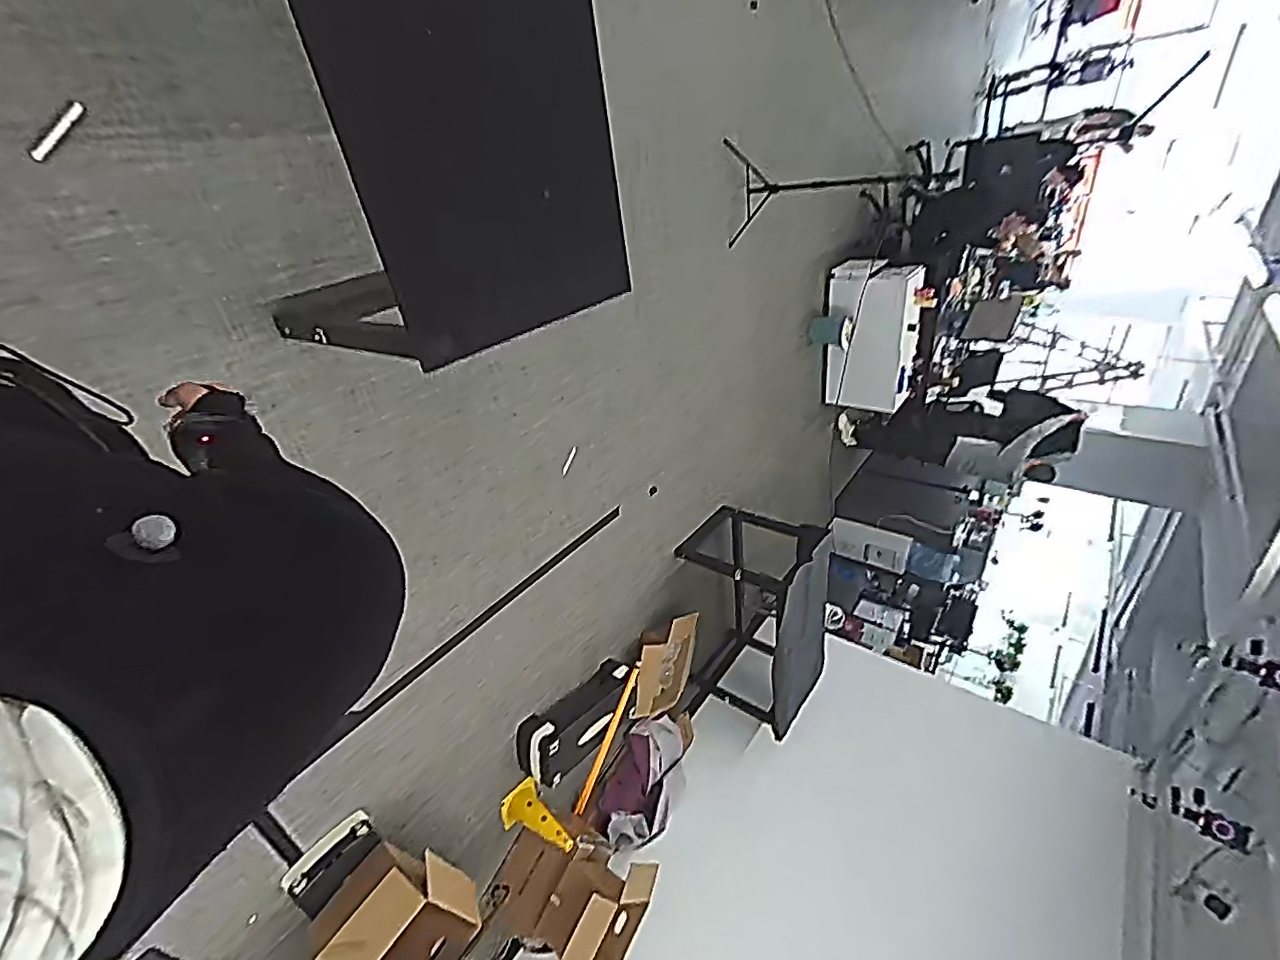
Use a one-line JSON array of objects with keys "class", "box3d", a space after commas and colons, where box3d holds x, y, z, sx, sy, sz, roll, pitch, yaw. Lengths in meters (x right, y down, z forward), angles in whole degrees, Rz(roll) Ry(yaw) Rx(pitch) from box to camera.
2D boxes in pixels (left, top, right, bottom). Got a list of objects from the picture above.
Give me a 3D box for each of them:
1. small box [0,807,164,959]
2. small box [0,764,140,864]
[{"class": "small box", "box3d": [-1.047, 0.763, 1.010, 0.168, 0.176, 0.179, -34, 128, -40]}, {"class": "small box", "box3d": [-1.180, 0.725, 1.096, 0.179, 0.176, 0.168, -36, 130, -39]}]
